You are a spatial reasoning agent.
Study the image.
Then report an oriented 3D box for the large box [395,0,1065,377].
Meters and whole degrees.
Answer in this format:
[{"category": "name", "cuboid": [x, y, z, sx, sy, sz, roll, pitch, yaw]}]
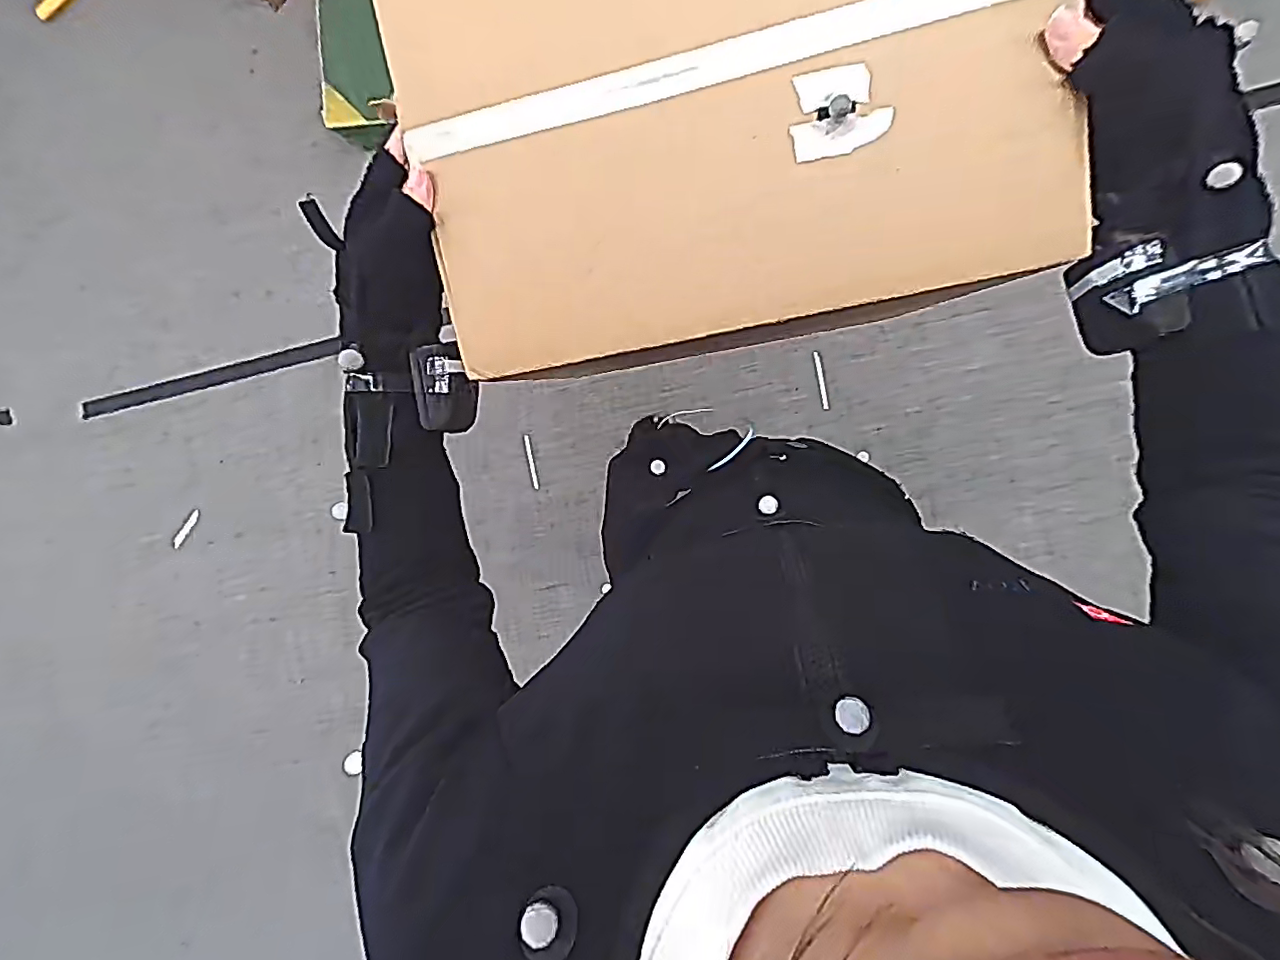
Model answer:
[{"category": "large box", "cuboid": [0.062, -0.286, 0.492, 0.408, 0.320, 0.320, -10, 100, 7]}]
